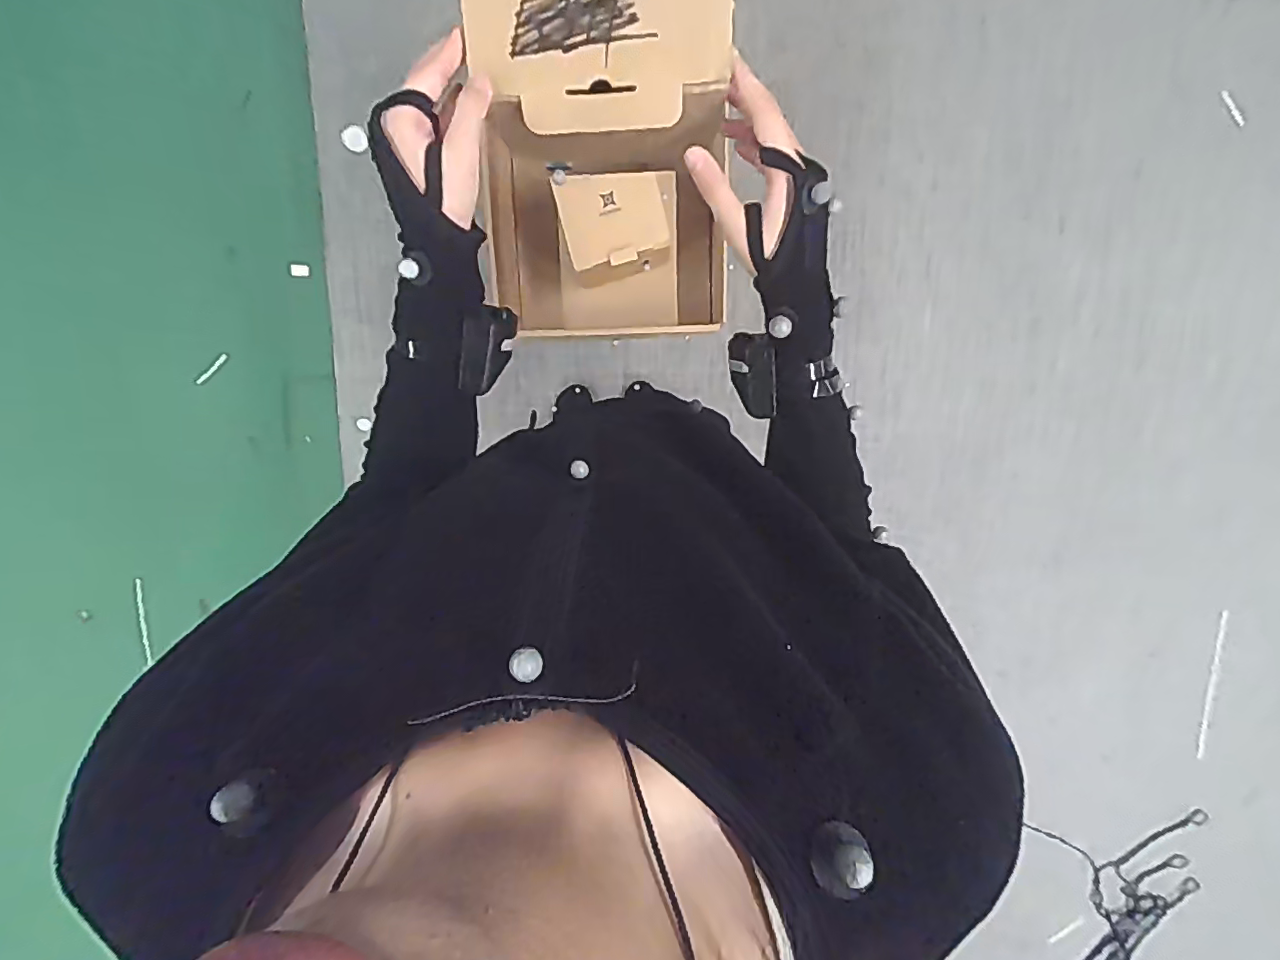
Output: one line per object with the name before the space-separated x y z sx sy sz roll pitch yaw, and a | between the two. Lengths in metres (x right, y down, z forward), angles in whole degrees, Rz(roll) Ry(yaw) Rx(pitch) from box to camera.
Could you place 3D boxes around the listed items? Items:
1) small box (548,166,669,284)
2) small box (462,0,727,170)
small box | -0.047 -0.452 0.938 0.168 0.176 0.179 -14 99 3
small box | -0.026 -0.346 0.399 0.168 0.176 0.179 -1 103 1
